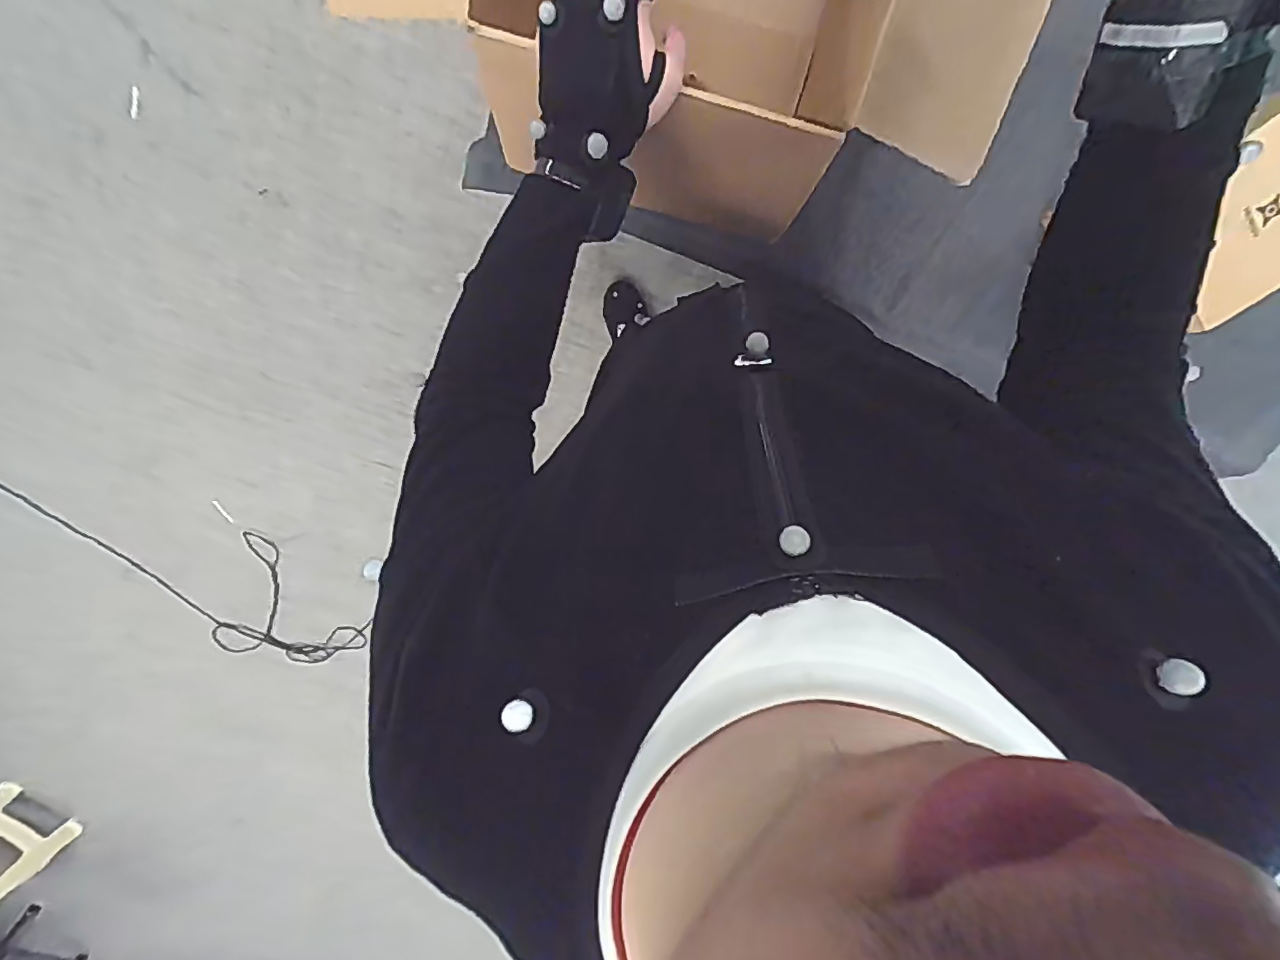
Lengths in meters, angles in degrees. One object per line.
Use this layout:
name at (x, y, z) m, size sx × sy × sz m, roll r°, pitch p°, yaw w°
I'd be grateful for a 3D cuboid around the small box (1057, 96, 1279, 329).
small box at (0.640, -0.301, 0.633) m, size 0.179 × 0.176 × 0.168 m, roll -35°, pitch 105°, yaw 14°
